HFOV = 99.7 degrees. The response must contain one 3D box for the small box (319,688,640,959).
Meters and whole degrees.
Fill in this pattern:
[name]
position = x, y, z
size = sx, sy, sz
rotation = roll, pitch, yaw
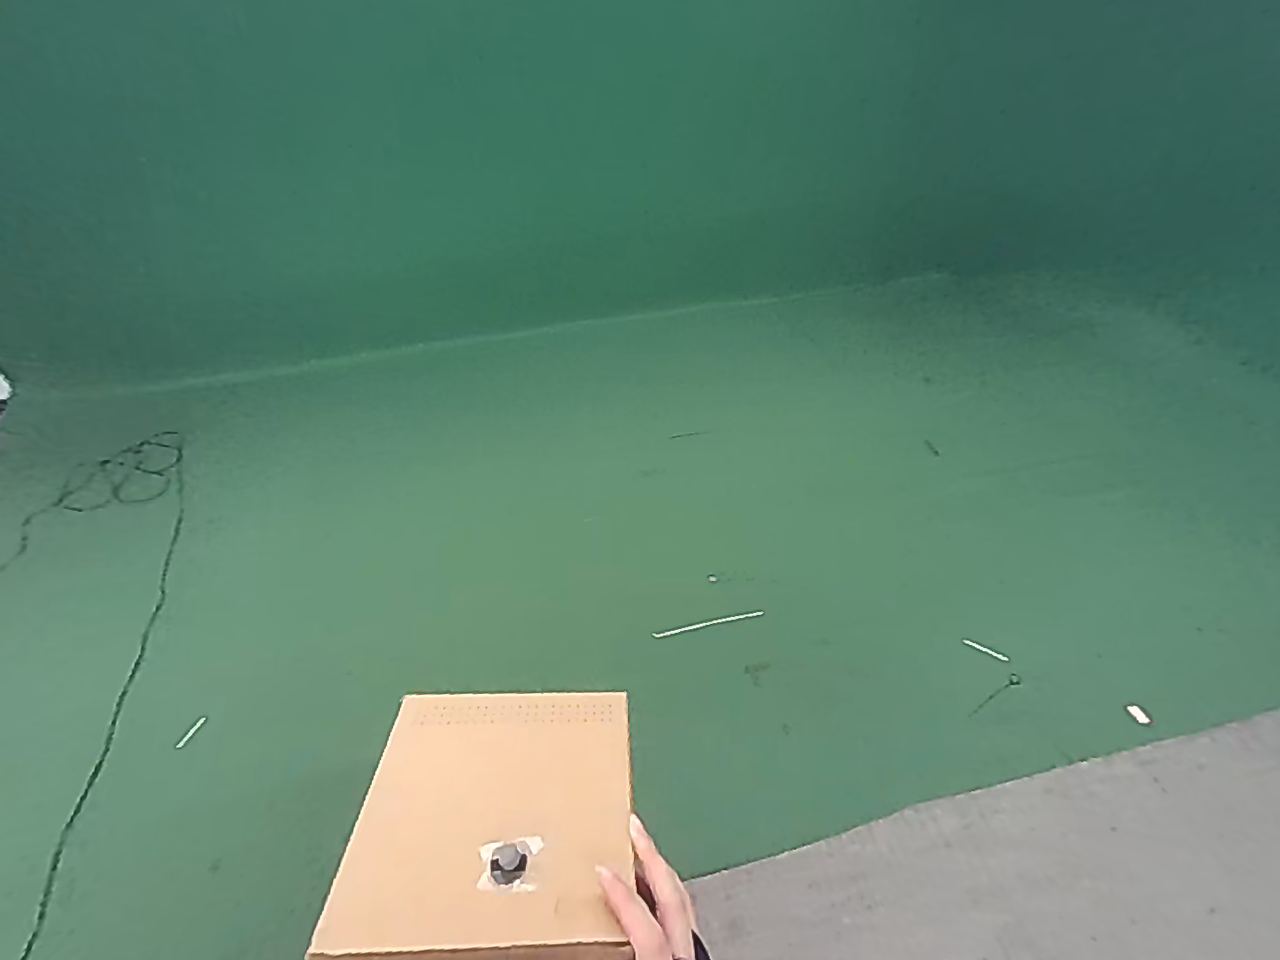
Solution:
[small box]
position = -0.095, 0.275, 0.402
size = 0.179, 0.168, 0.176
rotation = 1, 29, -3
